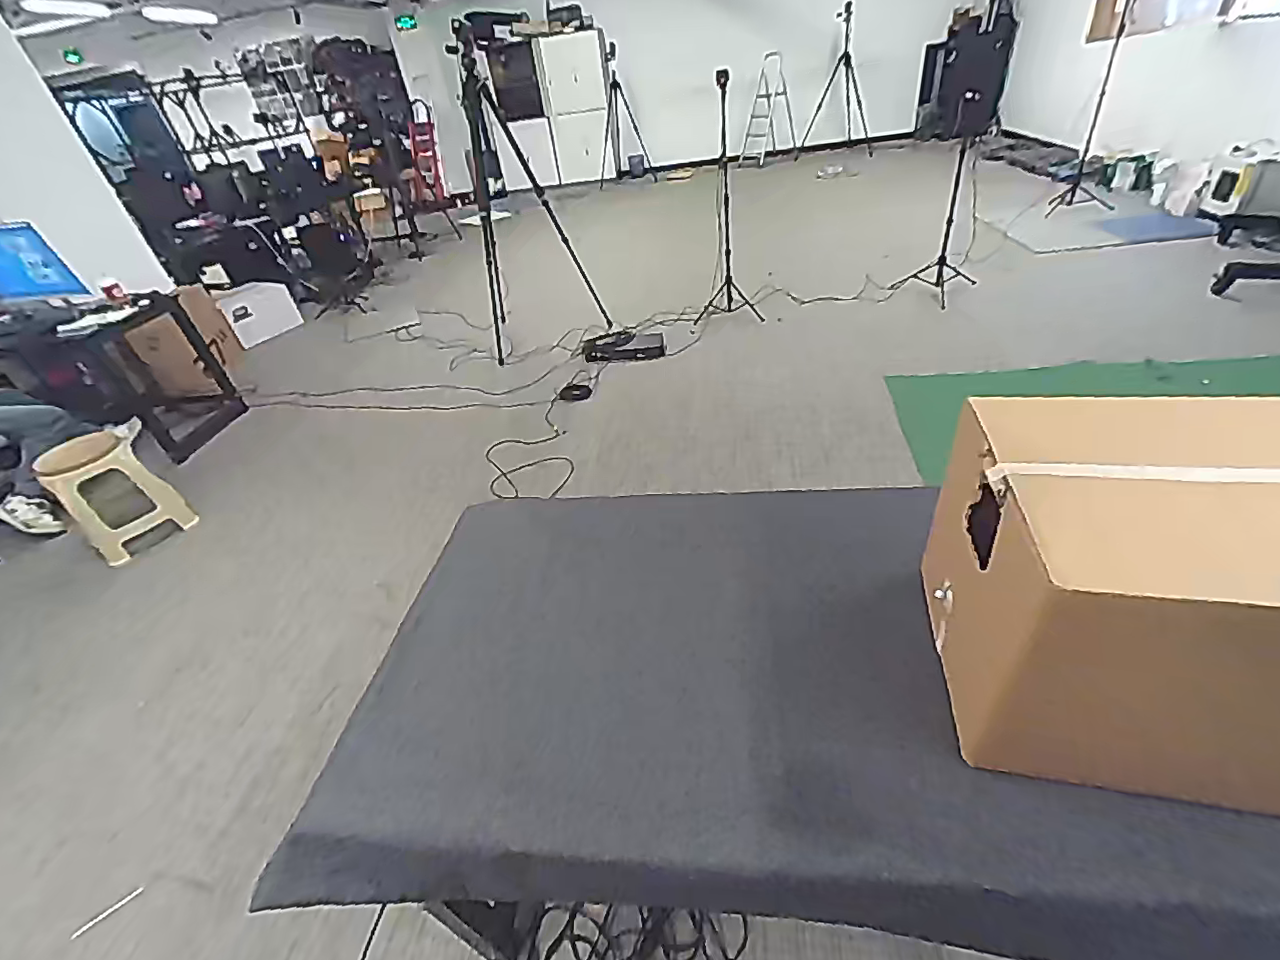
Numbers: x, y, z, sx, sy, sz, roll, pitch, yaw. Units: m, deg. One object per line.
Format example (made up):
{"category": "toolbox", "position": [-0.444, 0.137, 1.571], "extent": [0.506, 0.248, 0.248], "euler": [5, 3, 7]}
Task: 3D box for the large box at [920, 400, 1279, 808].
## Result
{"category": "large box", "position": [0.578, 0.120, 0.594], "extent": [0.408, 0.320, 0.320], "euler": [3, 39, 15]}
